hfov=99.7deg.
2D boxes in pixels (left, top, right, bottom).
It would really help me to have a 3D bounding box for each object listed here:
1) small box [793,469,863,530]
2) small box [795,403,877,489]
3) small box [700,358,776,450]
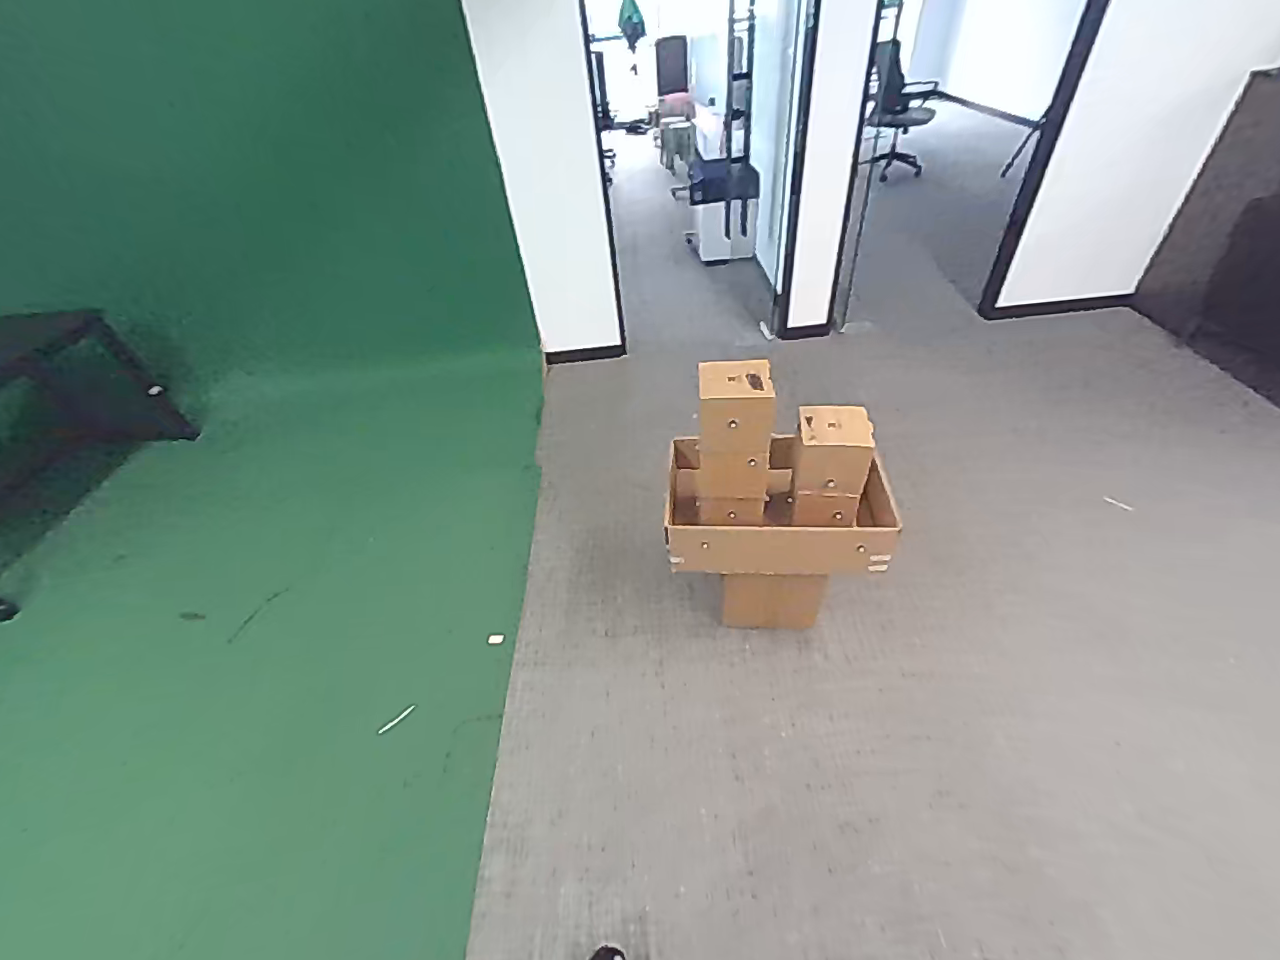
[{"bbox_3d":[0.536,0.027,1.560,0.168,0.176,0.179,3,45,11],"label":"small box"},{"bbox_3d":[0.517,-0.089,1.448,0.179,0.176,0.168,2,44,10],"label":"small box"},{"bbox_3d":[0.239,-0.188,1.357,0.179,0.176,0.168,-2,44,7],"label":"small box"}]
